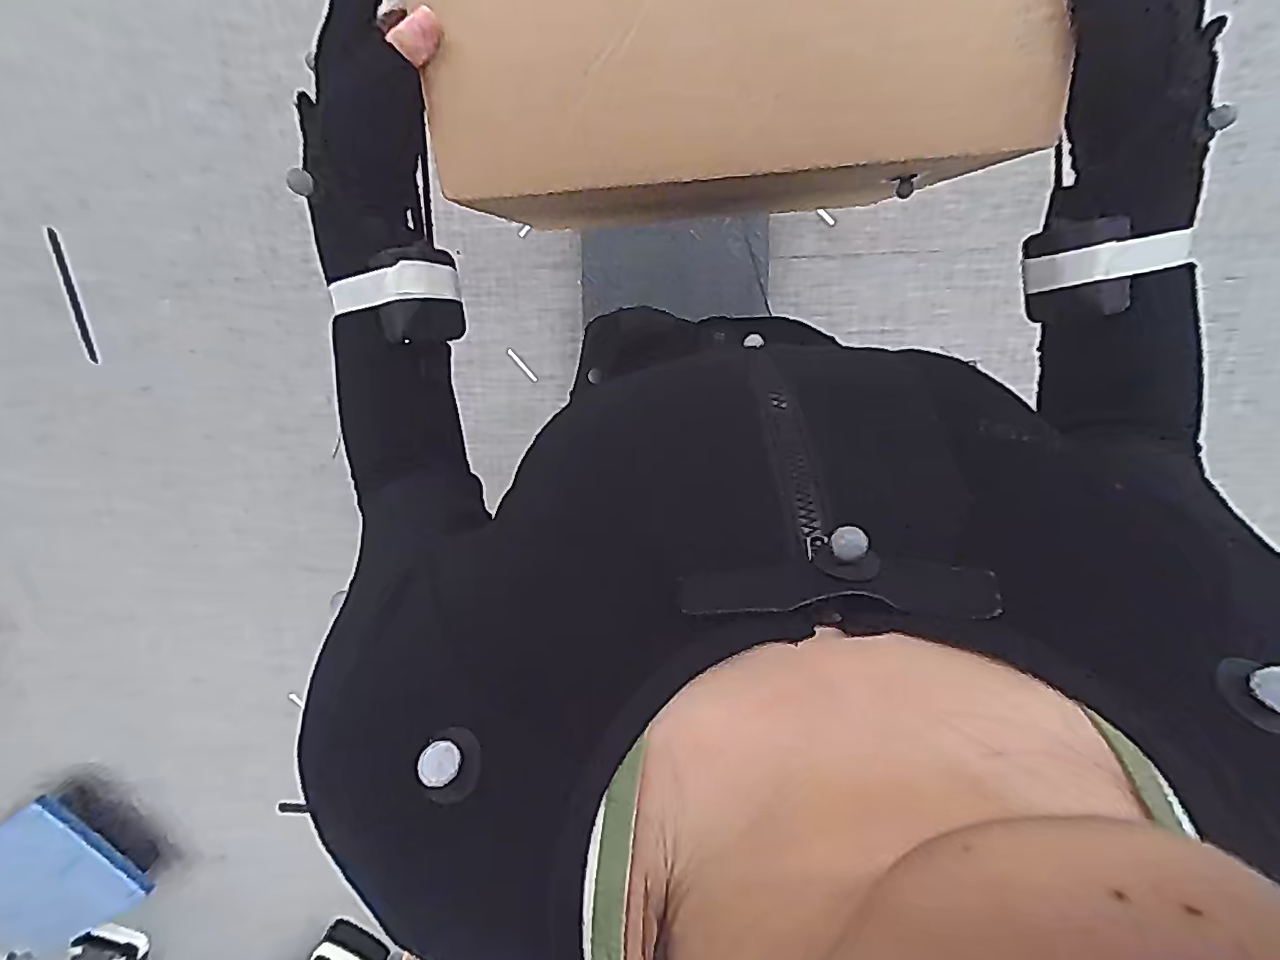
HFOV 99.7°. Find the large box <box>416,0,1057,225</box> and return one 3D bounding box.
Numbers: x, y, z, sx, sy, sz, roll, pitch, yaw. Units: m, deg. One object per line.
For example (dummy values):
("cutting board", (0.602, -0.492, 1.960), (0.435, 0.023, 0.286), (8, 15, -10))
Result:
("large box", (0.058, -0.405, 0.452), (0.408, 0.320, 0.320), (-4, 111, 2))
